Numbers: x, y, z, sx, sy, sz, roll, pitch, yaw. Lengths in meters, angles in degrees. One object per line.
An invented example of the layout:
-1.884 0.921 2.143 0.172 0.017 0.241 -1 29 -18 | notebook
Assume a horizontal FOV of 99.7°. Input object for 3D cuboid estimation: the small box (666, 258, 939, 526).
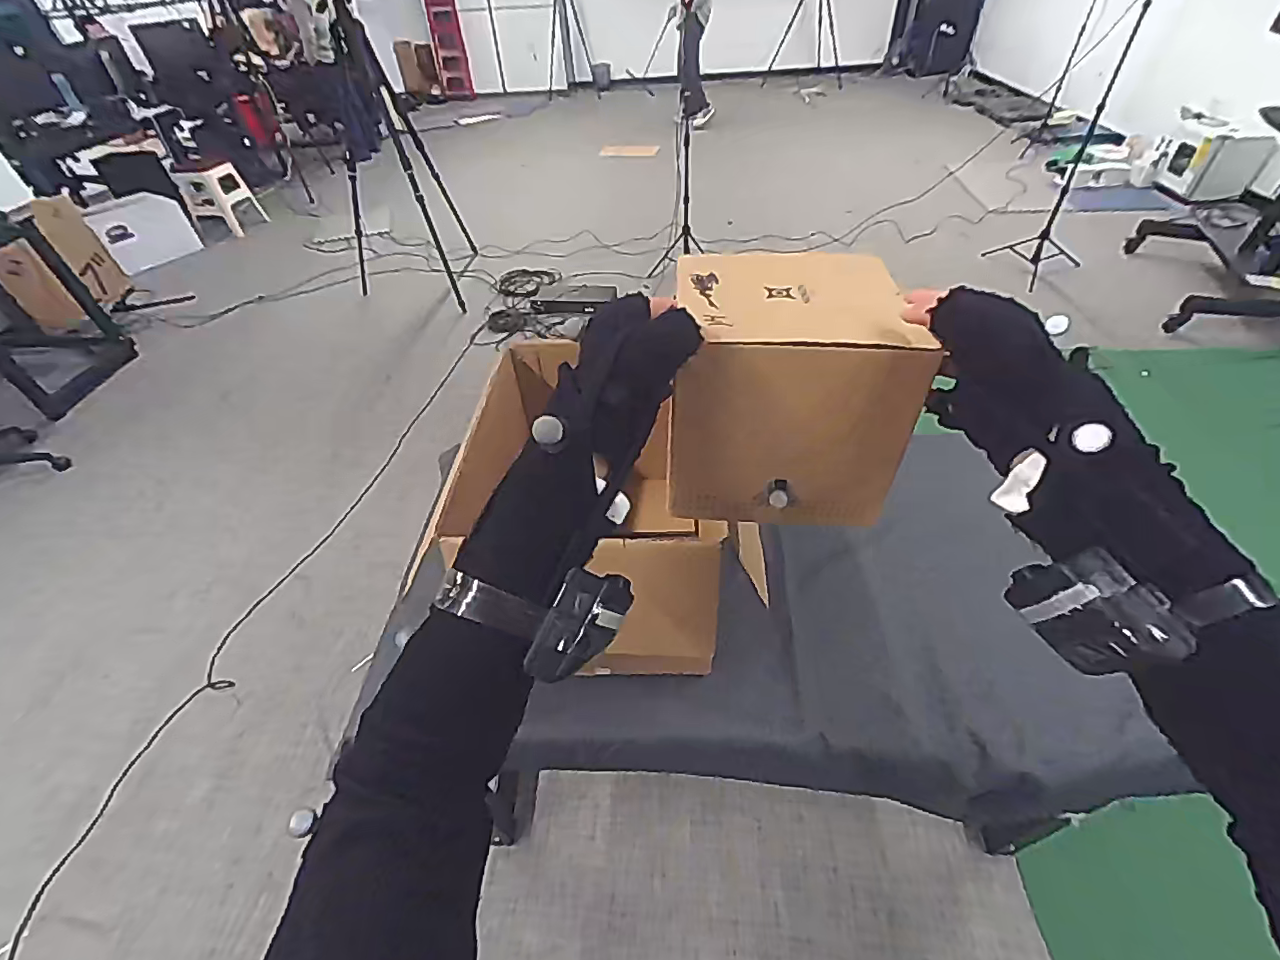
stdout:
0.116 -0.075 0.469 0.179 0.176 0.168 3 41 3 | small box
